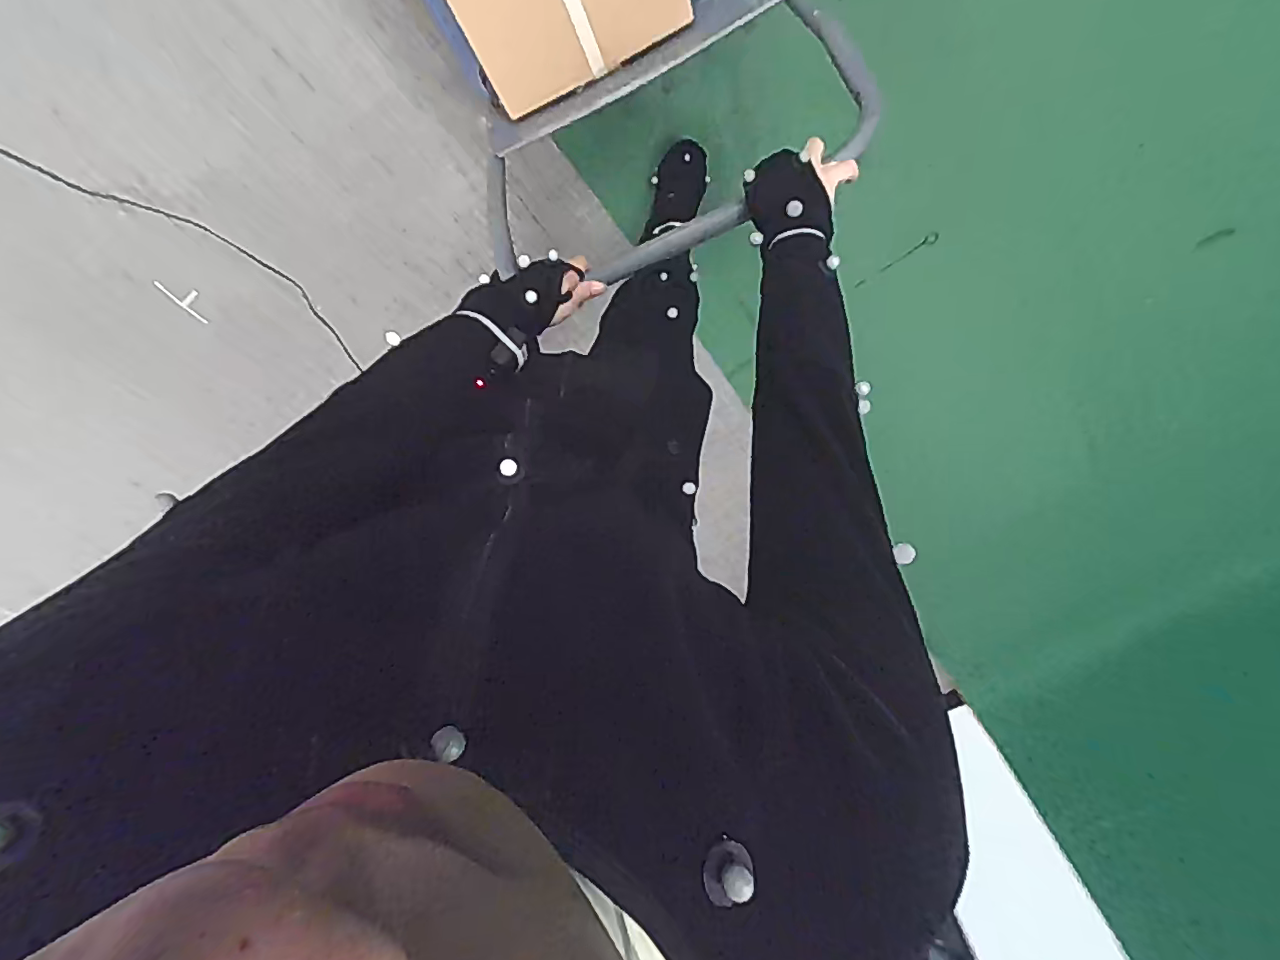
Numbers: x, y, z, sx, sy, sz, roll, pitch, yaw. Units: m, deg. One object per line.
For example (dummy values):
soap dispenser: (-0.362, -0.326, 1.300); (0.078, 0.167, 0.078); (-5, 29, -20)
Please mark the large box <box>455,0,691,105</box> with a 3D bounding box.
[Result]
large box: (-0.155, -0.865, 0.770); (0.320, 0.320, 0.408); (-20, 141, 14)
